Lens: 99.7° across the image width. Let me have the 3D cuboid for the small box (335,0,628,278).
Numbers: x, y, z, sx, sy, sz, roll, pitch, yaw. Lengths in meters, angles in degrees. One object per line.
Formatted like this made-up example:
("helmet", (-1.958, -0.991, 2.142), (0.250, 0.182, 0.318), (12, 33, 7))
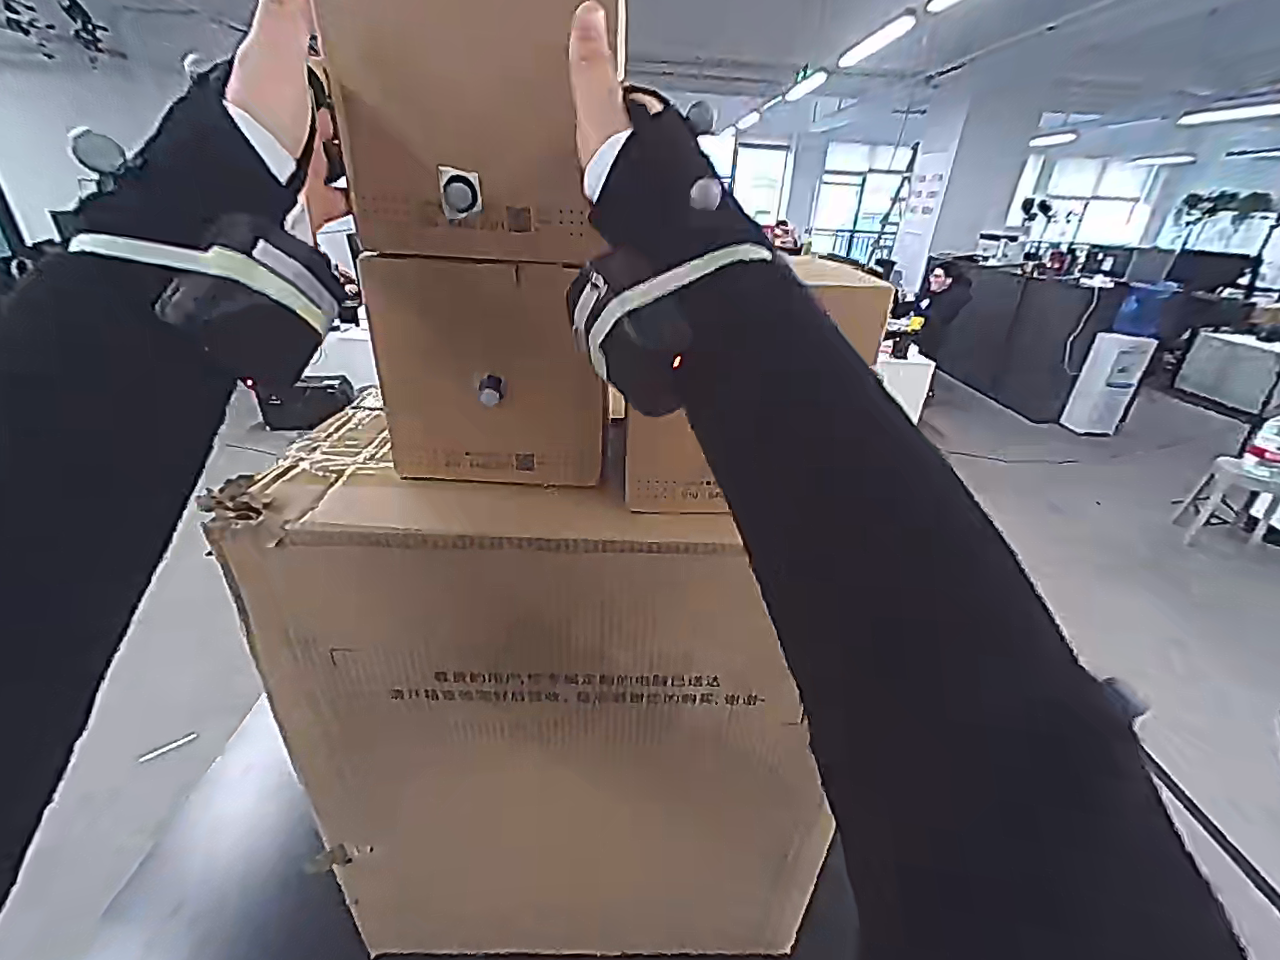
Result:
("small box", (-0.094, -0.253, 0.391), (0.168, 0.176, 0.179), (1, 31, -3))
